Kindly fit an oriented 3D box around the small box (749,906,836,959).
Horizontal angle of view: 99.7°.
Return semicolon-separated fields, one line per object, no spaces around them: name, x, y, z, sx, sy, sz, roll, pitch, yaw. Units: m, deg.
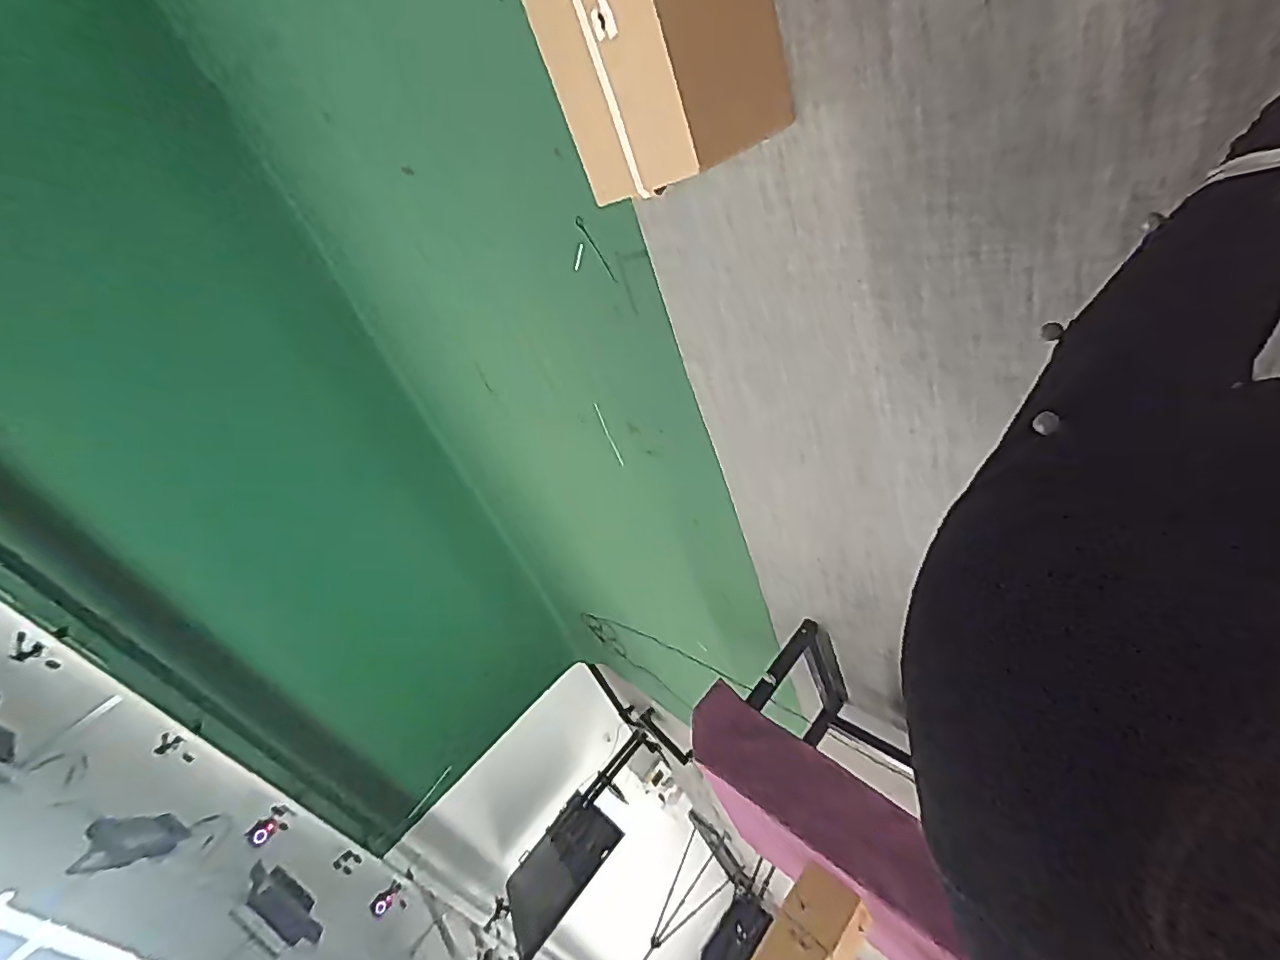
small box;0.444;1.372;1.529;0.168;0.176;0.179;12;136;49

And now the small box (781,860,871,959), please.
small box;0.552;1.272;1.600;0.179;0.176;0.168;14;139;49

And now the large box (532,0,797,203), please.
large box;0.055;-0.818;1.038;0.320;0.320;0.408;17;139;48
